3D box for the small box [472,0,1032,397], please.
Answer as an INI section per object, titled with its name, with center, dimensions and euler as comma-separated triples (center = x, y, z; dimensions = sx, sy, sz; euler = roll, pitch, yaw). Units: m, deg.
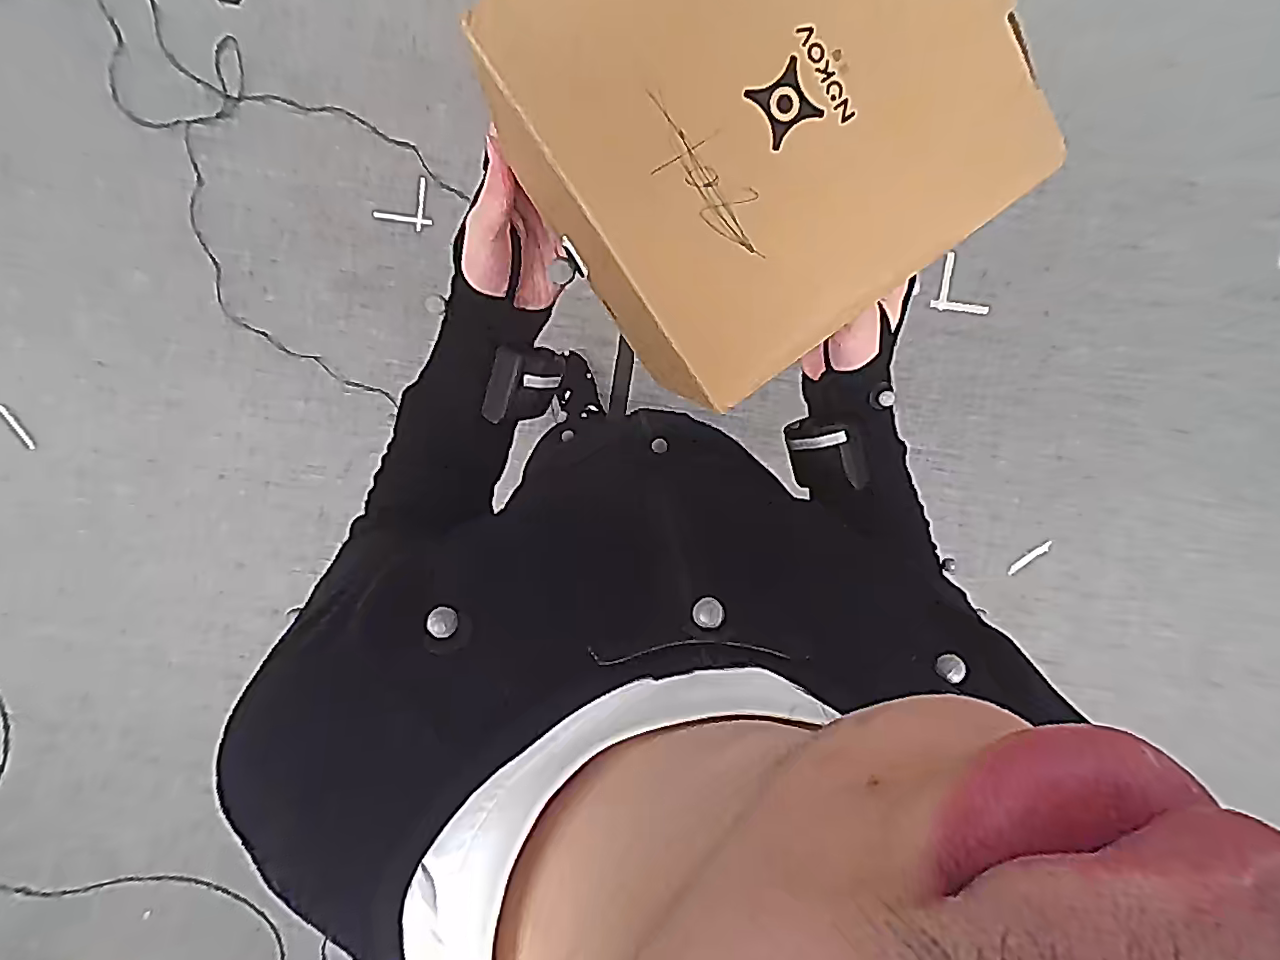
[small box]
center = 0.042, -0.167, 0.287
dimensions = 0.179, 0.176, 0.168
euler = -36, 105, 3
